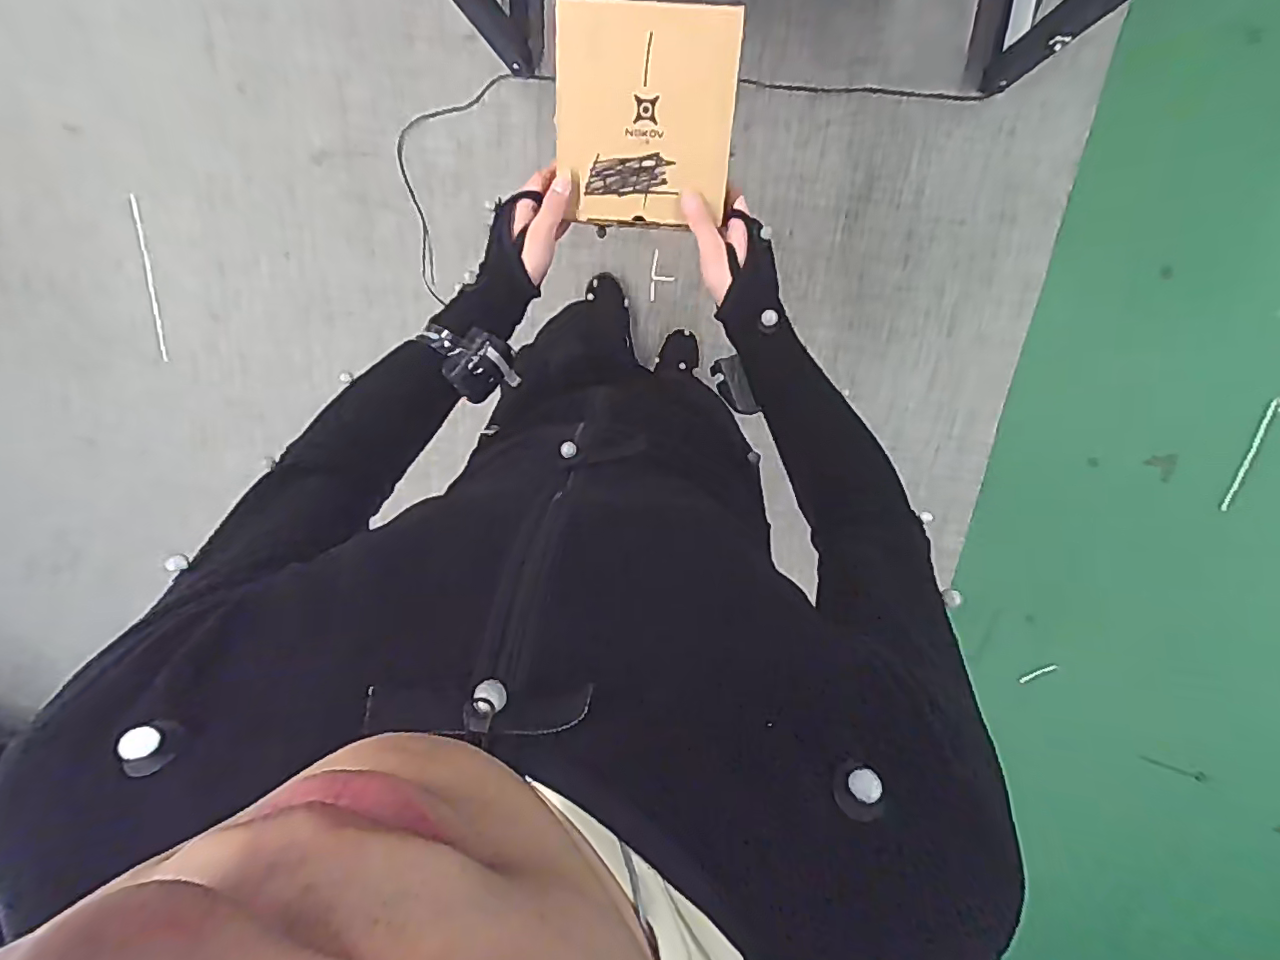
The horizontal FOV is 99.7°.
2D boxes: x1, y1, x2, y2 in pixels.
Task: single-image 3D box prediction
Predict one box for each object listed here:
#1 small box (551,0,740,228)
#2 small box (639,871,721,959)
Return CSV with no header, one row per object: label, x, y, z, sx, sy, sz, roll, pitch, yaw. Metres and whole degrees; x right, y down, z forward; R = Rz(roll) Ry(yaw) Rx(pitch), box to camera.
small box,0.003,-0.366,0.568,0.168,0.176,0.179,4,113,0
small box,0.095,1.078,1.289,0.179,0.176,0.168,6,108,5
